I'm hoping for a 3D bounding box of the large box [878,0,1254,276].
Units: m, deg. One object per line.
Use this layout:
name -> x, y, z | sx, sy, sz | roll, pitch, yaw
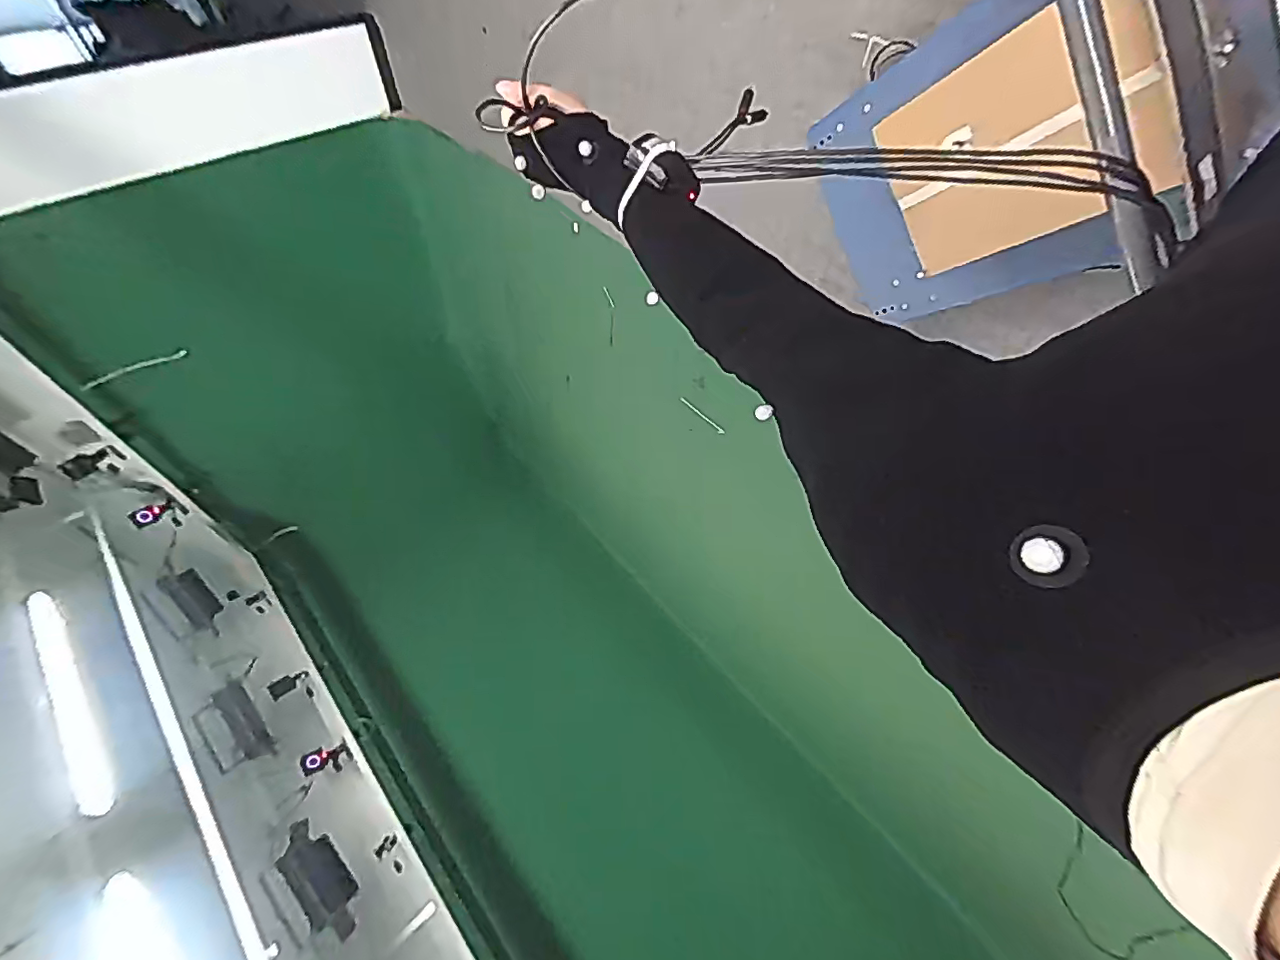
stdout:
large box -> 0.733, -0.633, 0.965 | 0.408, 0.320, 0.320 | -2, 119, 62
